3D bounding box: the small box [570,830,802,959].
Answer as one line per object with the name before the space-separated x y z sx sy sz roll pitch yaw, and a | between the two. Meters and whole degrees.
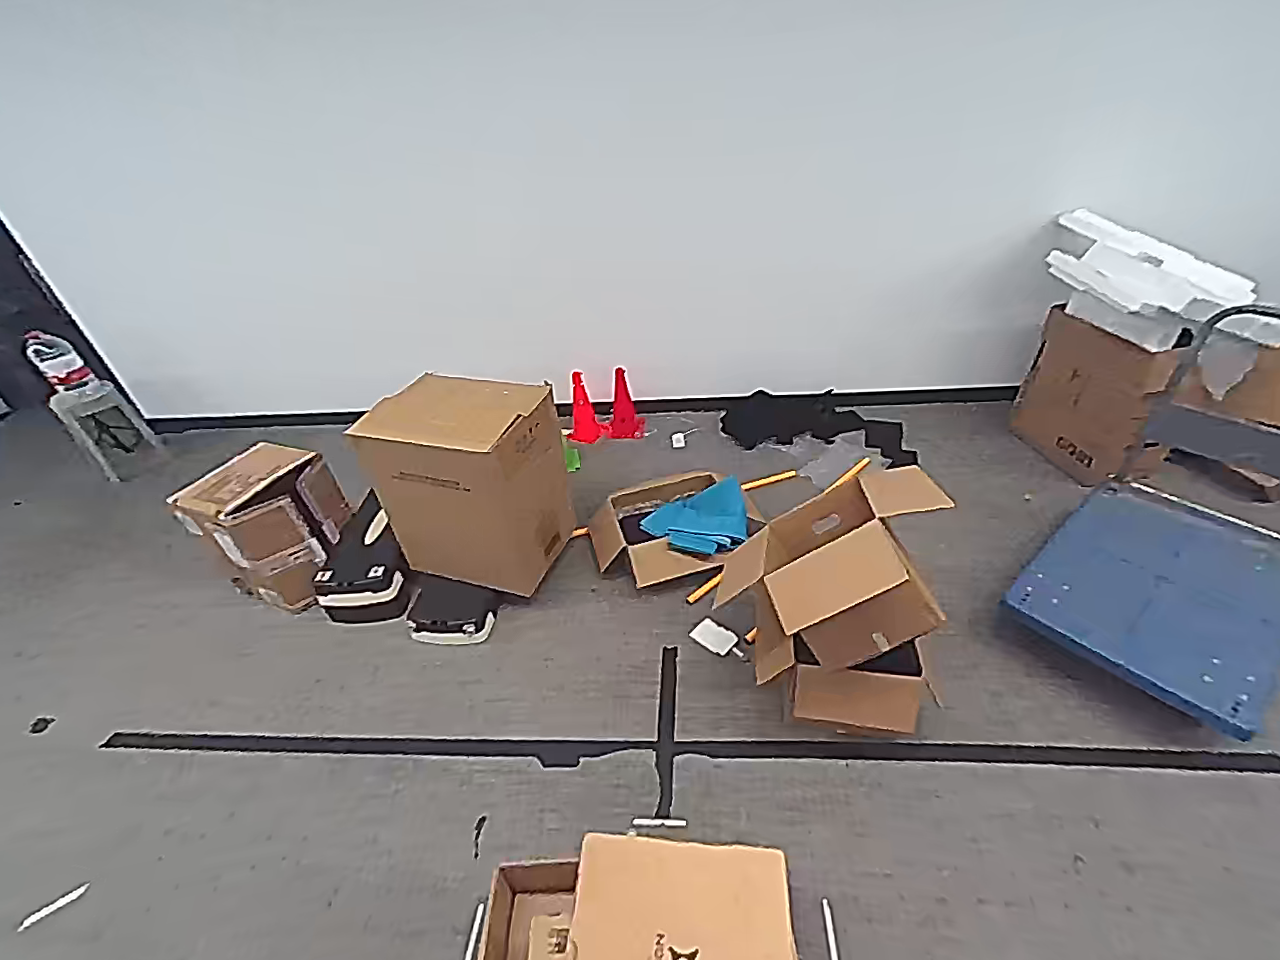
small box | 0.040 0.421 0.454 0.179 0.176 0.168 -1 40 8
